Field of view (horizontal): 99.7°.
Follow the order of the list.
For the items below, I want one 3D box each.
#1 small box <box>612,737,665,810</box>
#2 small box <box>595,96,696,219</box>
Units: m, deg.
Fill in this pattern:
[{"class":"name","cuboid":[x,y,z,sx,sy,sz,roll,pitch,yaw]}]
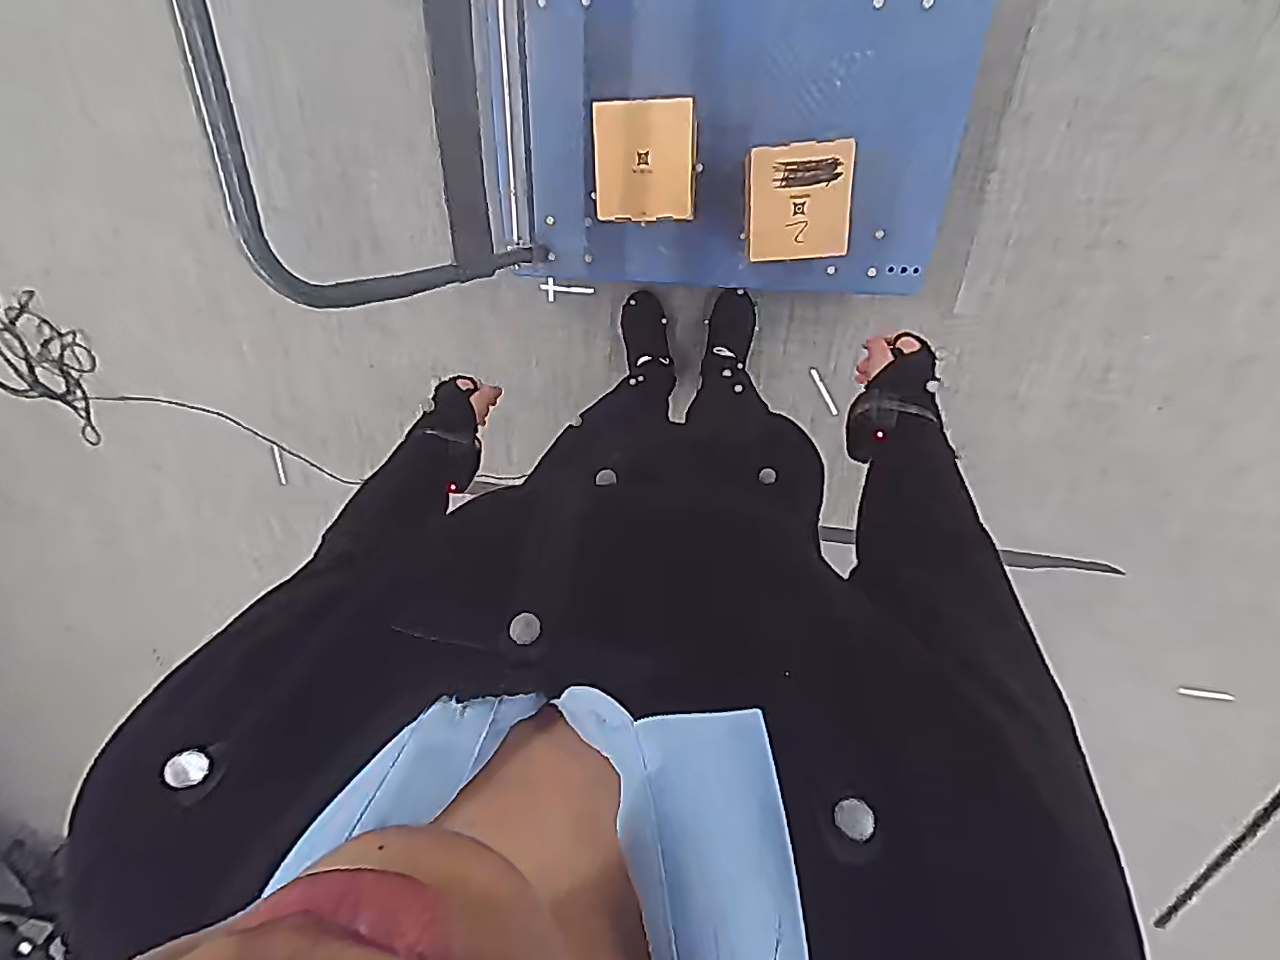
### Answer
[{"class":"small box","cuboid":[0.000,1.082,1.996,0.168,0.176,0.179,-4,115,9]},{"class":"small box","cuboid":[0.016,-0.568,0.972,0.168,0.176,0.179,2,117,6]}]
